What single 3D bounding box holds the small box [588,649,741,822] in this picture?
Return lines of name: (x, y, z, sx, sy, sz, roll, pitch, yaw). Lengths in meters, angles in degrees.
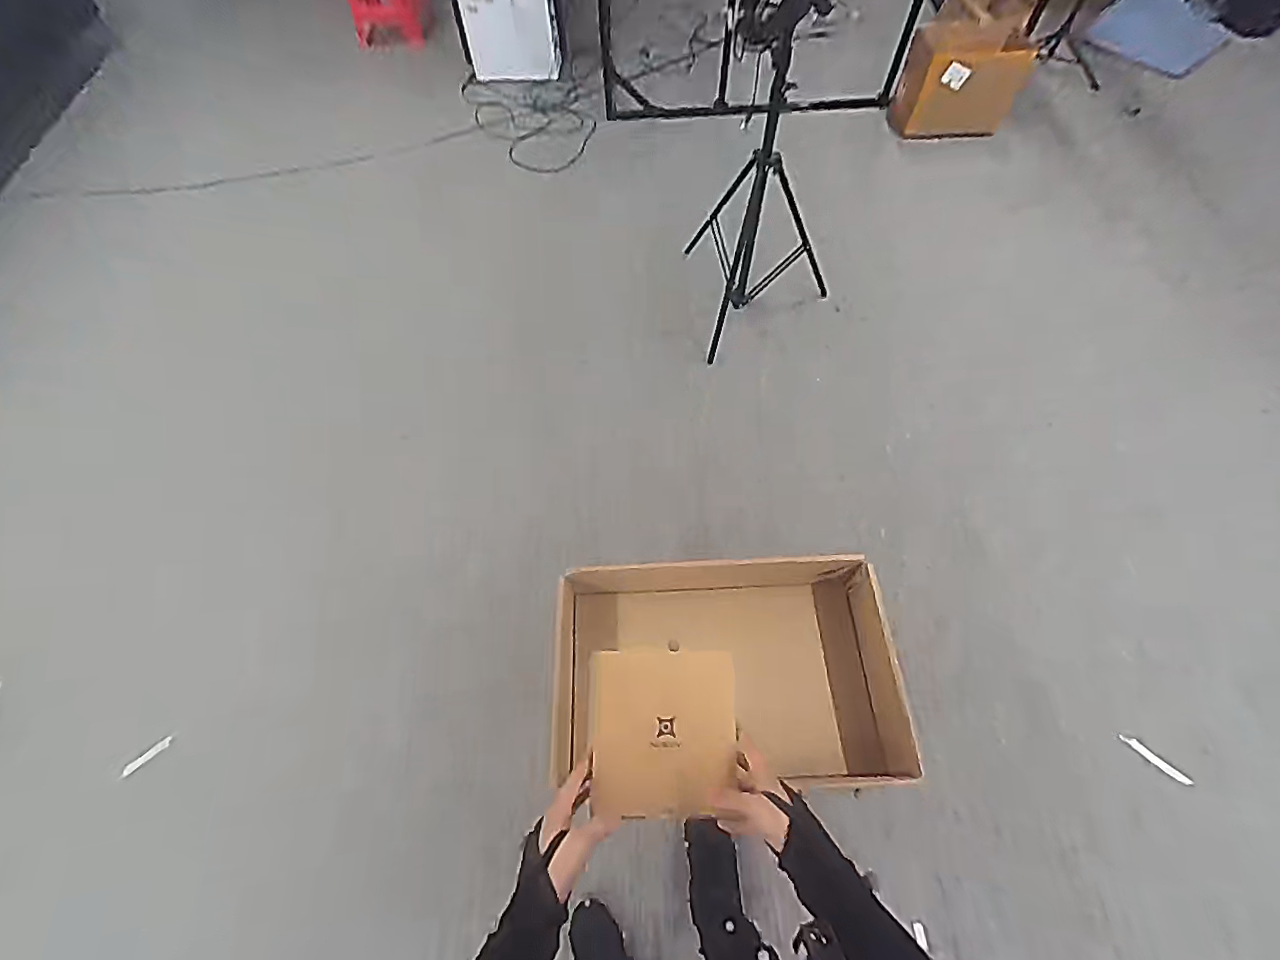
small box: (0.022, 0.308, 0.681, 0.168, 0.176, 0.179, 3, 73, -6)
